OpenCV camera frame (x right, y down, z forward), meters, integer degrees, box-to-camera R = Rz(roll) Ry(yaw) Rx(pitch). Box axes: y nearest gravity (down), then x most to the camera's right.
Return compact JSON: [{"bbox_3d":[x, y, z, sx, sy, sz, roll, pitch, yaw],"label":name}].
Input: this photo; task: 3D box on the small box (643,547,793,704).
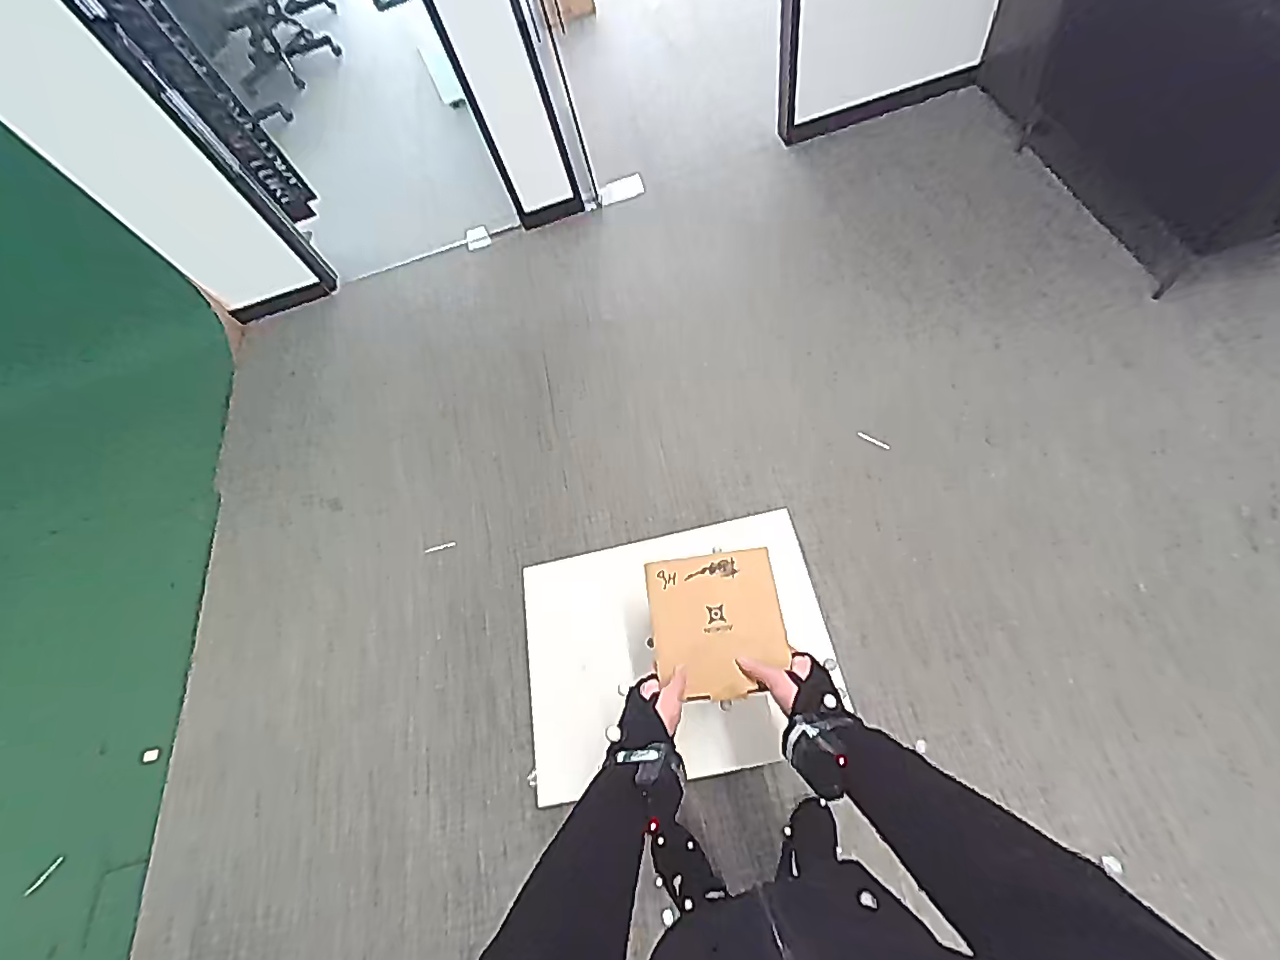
[{"bbox_3d":[0.103,0.209,0.756,0.168,0.176,0.179,-10,66,2],"label":"small box"}]
